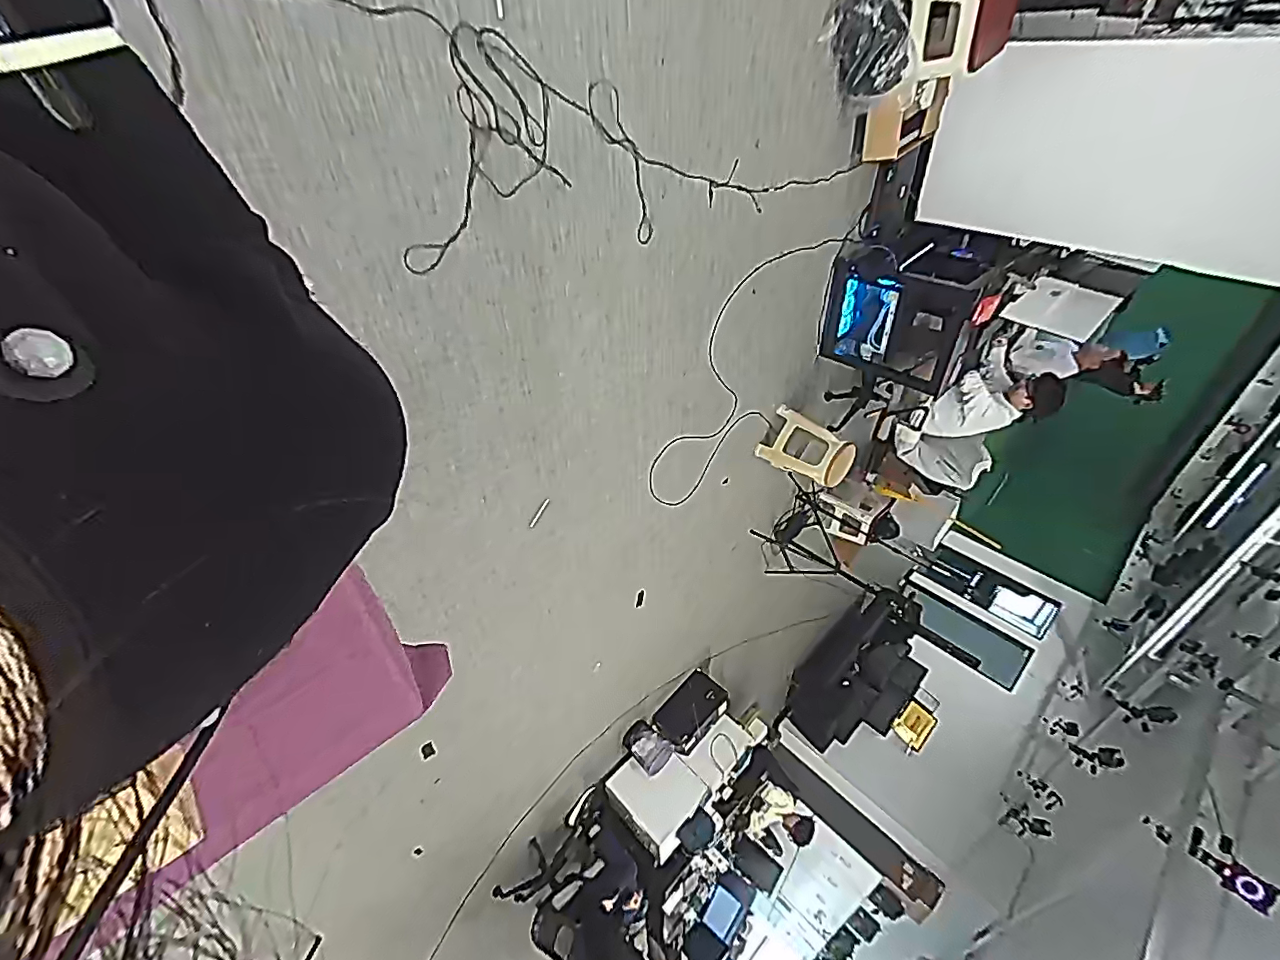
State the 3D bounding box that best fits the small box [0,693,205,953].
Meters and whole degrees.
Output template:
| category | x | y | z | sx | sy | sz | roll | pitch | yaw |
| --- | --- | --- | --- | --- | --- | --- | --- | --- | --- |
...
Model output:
| category | x | y | z | sx | sy | sz | roll | pitch | yaw |
| --- | --- | --- | --- | --- | --- | --- | --- | --- | --- |
| small box | -0.688 | 0.408 | 0.665 | 0.179 | 0.176 | 0.168 | -29 | 137 | -34 |
